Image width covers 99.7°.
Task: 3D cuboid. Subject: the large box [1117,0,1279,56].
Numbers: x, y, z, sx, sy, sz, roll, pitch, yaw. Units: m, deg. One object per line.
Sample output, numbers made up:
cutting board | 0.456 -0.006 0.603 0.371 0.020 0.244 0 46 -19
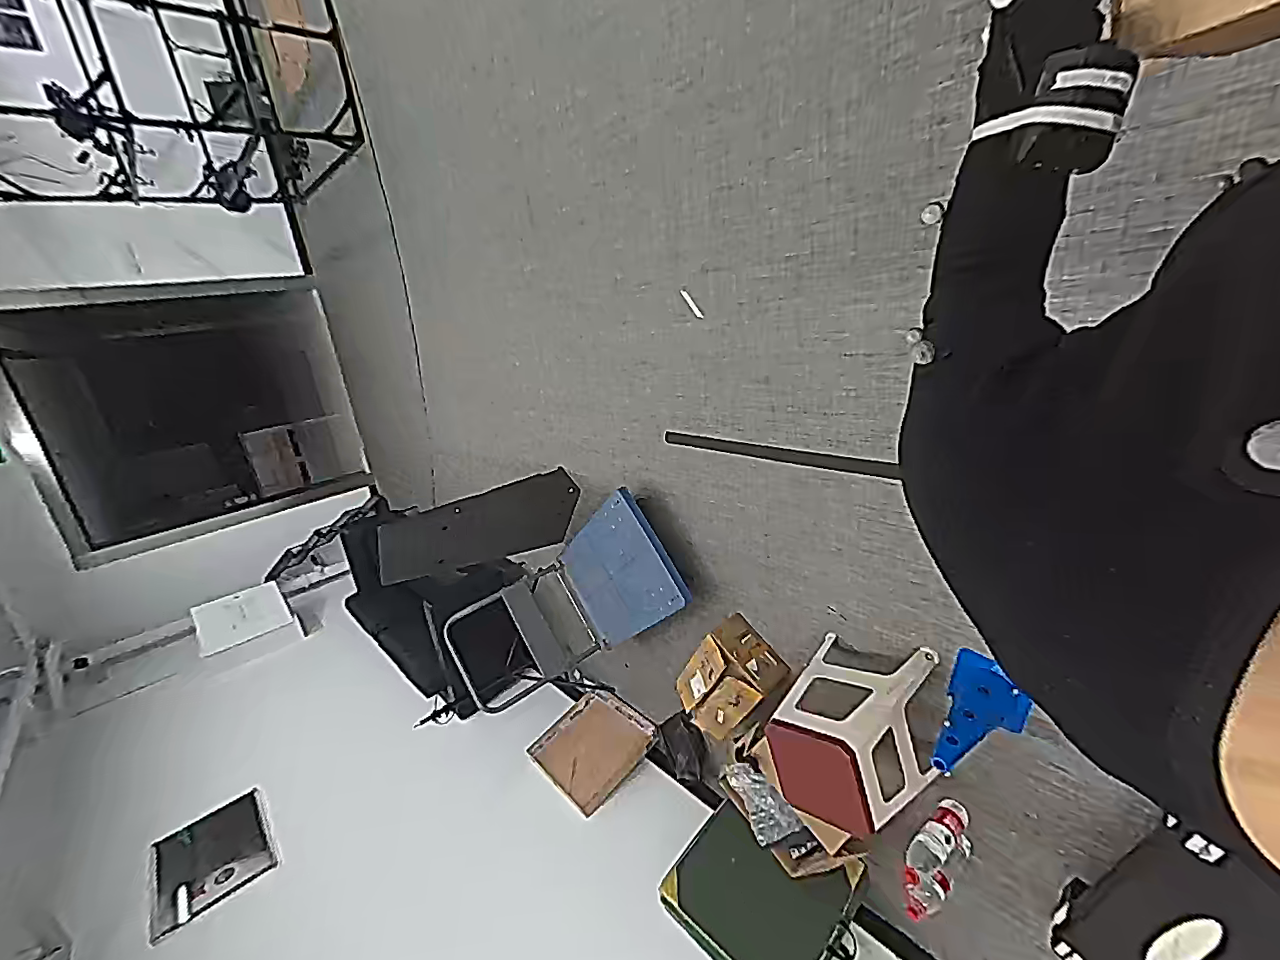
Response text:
large box | 0.513 -0.464 0.240 0.408 0.320 0.320 11 123 52
